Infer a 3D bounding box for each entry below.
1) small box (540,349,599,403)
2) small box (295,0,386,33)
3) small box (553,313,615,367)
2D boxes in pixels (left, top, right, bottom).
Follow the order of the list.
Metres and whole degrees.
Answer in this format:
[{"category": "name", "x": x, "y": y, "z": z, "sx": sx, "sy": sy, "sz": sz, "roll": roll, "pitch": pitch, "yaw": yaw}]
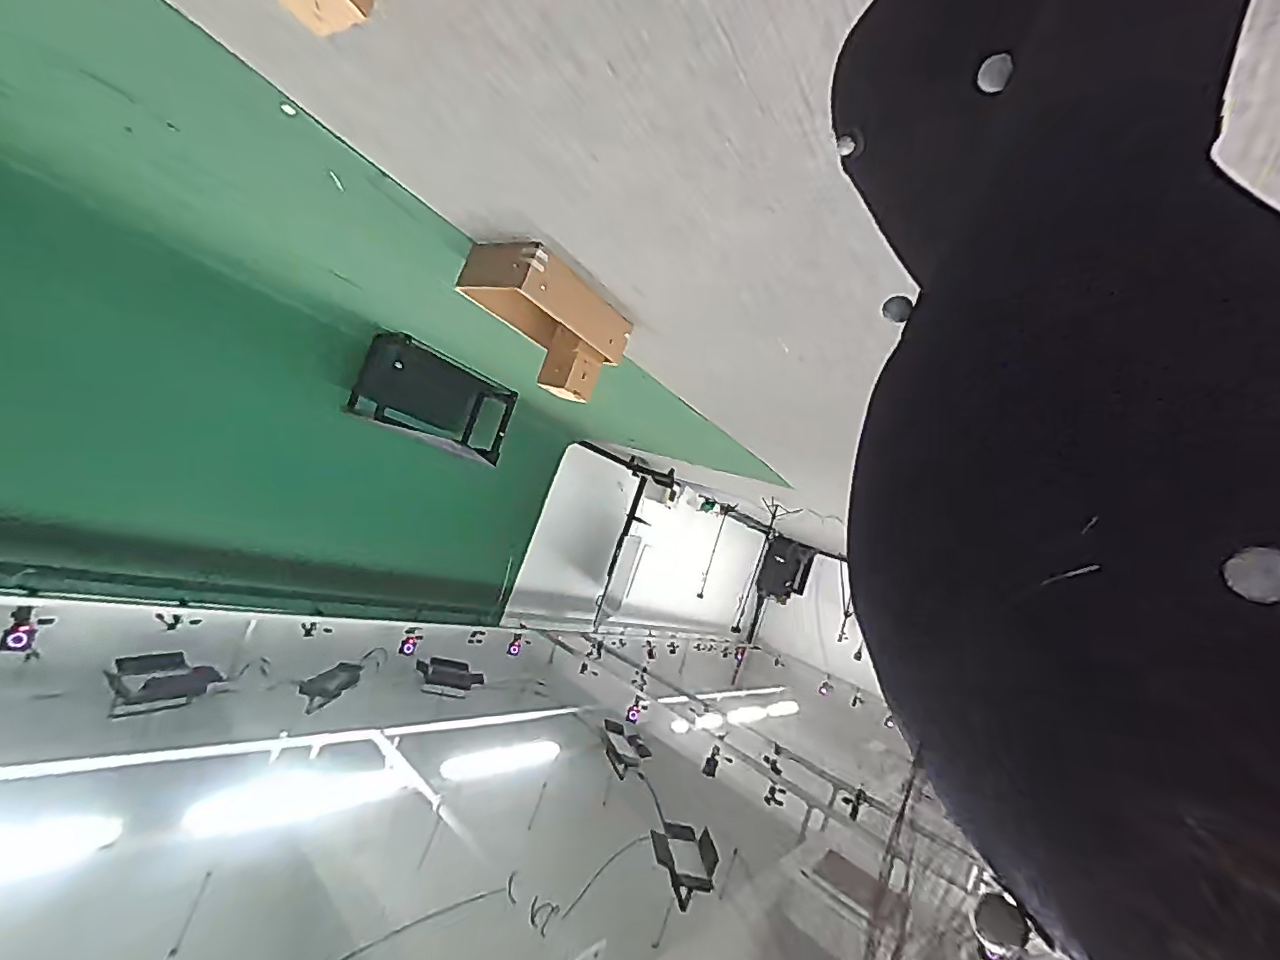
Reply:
[{"category": "small box", "x": -0.294, "y": -0.448, "z": 2.318, "sx": 0.179, "sy": 0.176, "sz": 0.168, "roll": 16, "pitch": 174, "yaw": 34}, {"category": "small box", "x": -0.506, "y": -0.884, "z": 0.868, "sx": 0.168, "sy": 0.176, "sz": 0.179, "roll": 18, "pitch": 175, "yaw": 33}, {"category": "small box", "x": -0.235, "y": -0.602, "z": 2.317, "sx": 0.179, "sy": 0.176, "sz": 0.168, "roll": 14, "pitch": 173, "yaw": 39}]
